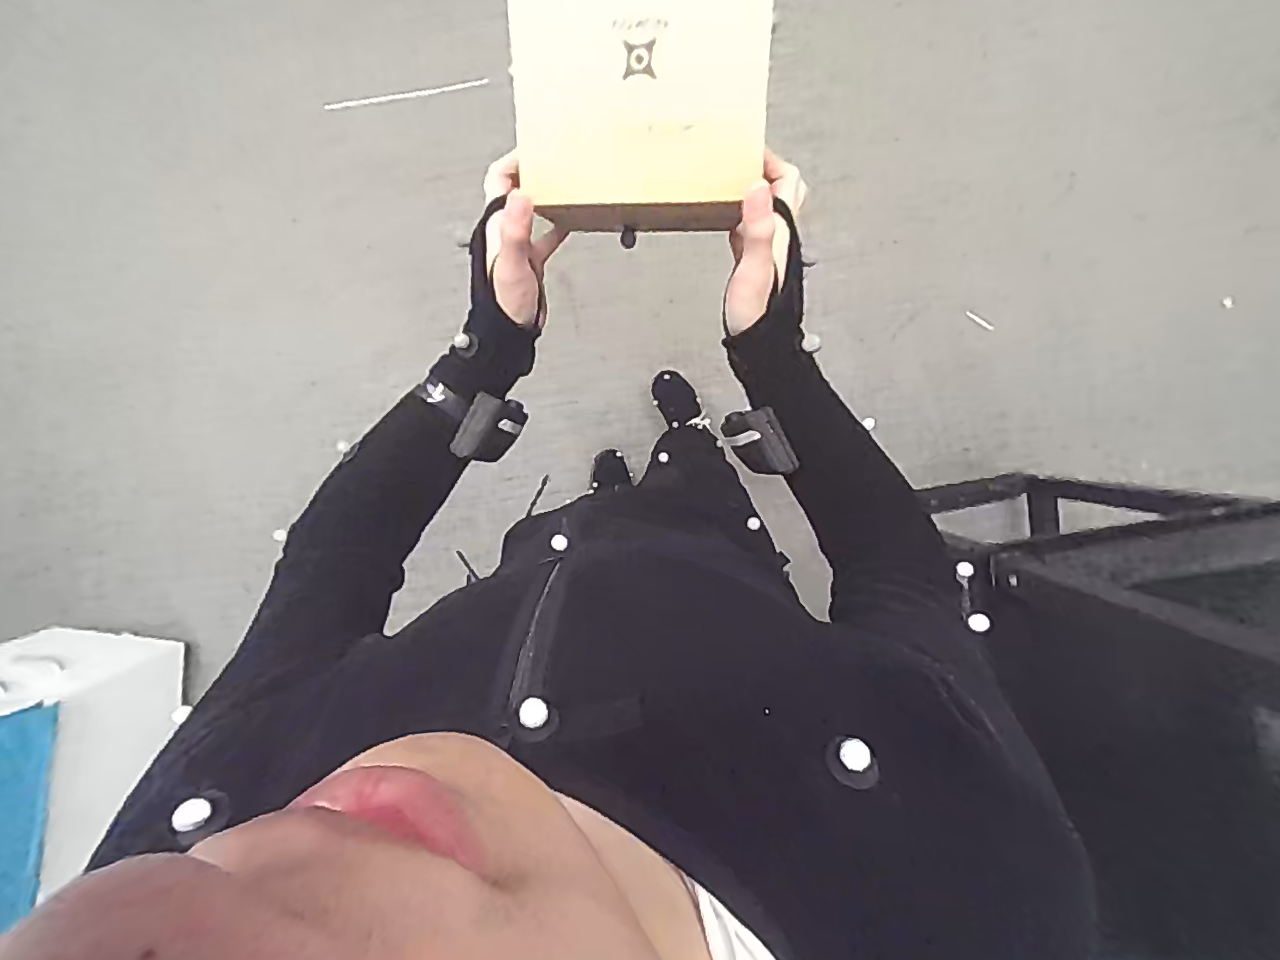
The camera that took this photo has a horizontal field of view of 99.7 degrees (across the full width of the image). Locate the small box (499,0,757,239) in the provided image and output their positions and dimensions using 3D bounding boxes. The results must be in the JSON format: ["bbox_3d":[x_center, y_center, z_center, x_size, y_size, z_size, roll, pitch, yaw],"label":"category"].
[{"bbox_3d":[-0.004,-0.295,0.424,0.168,0.176,0.179,0,108,4],"label":"small box"}]
